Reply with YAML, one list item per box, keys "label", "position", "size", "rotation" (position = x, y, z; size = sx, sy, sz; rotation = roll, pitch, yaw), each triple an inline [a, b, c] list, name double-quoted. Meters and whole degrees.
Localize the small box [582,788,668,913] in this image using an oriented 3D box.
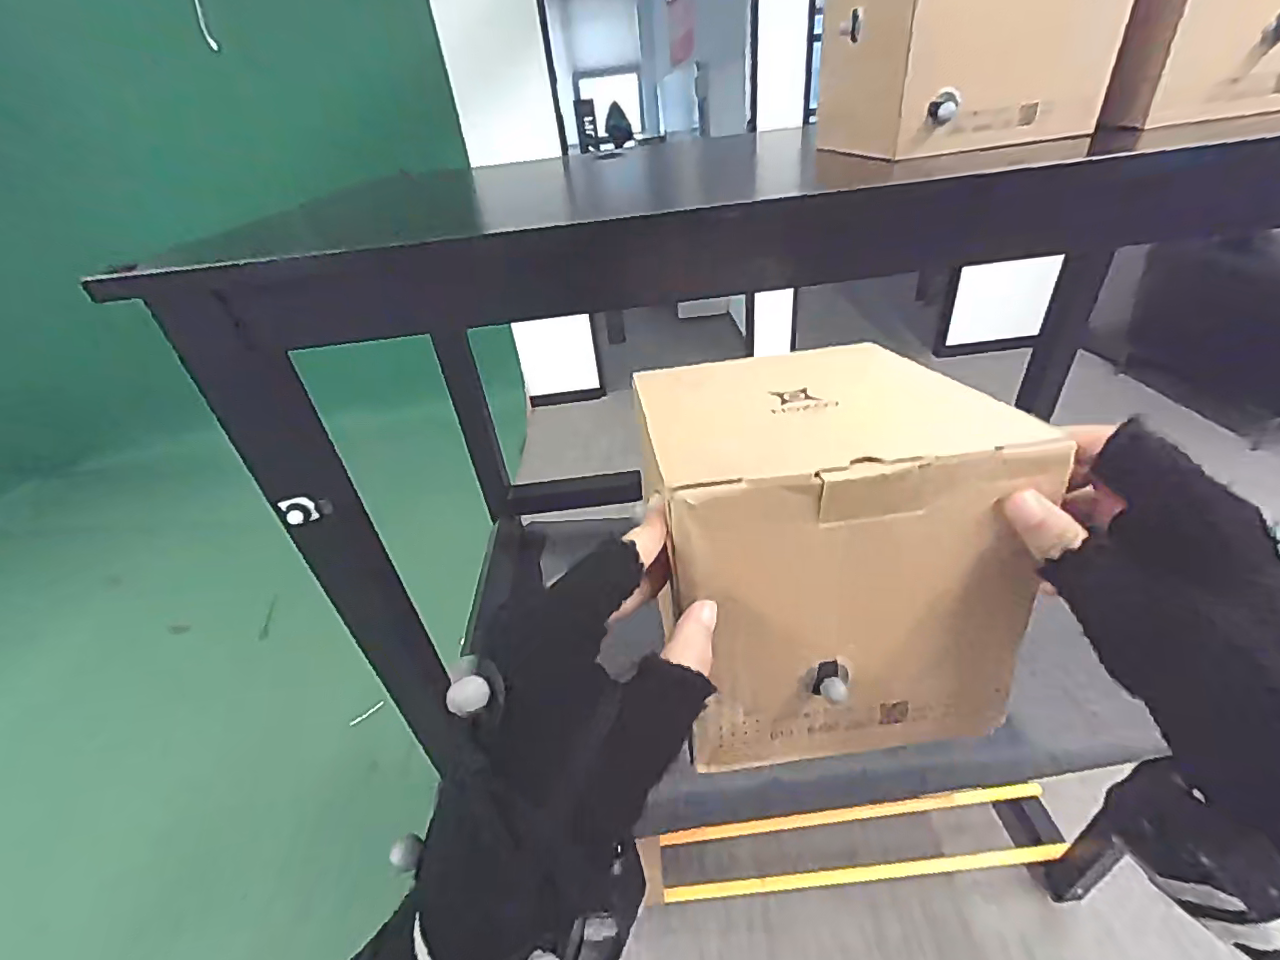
- label: "small box"
  position: [-0.032, 0.814, 1.191]
  size: [0.168, 0.176, 0.179]
  rotation: [-7, 36, 1]
